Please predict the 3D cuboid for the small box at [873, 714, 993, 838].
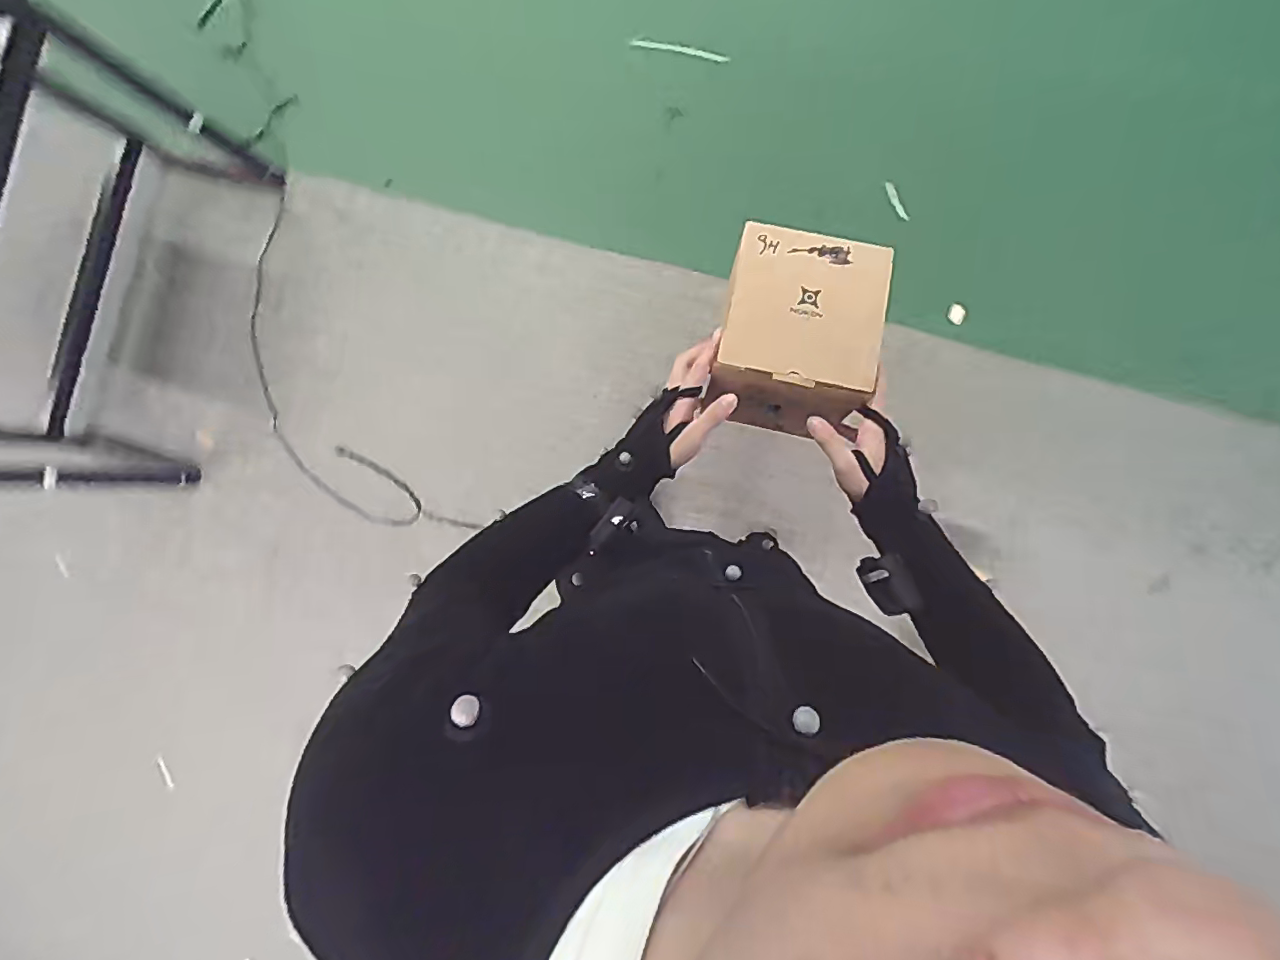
[{"bbox_3d":[0.670,0.675,1.262,0.179,0.176,0.168,21,91,10],"label":"small box"}]
